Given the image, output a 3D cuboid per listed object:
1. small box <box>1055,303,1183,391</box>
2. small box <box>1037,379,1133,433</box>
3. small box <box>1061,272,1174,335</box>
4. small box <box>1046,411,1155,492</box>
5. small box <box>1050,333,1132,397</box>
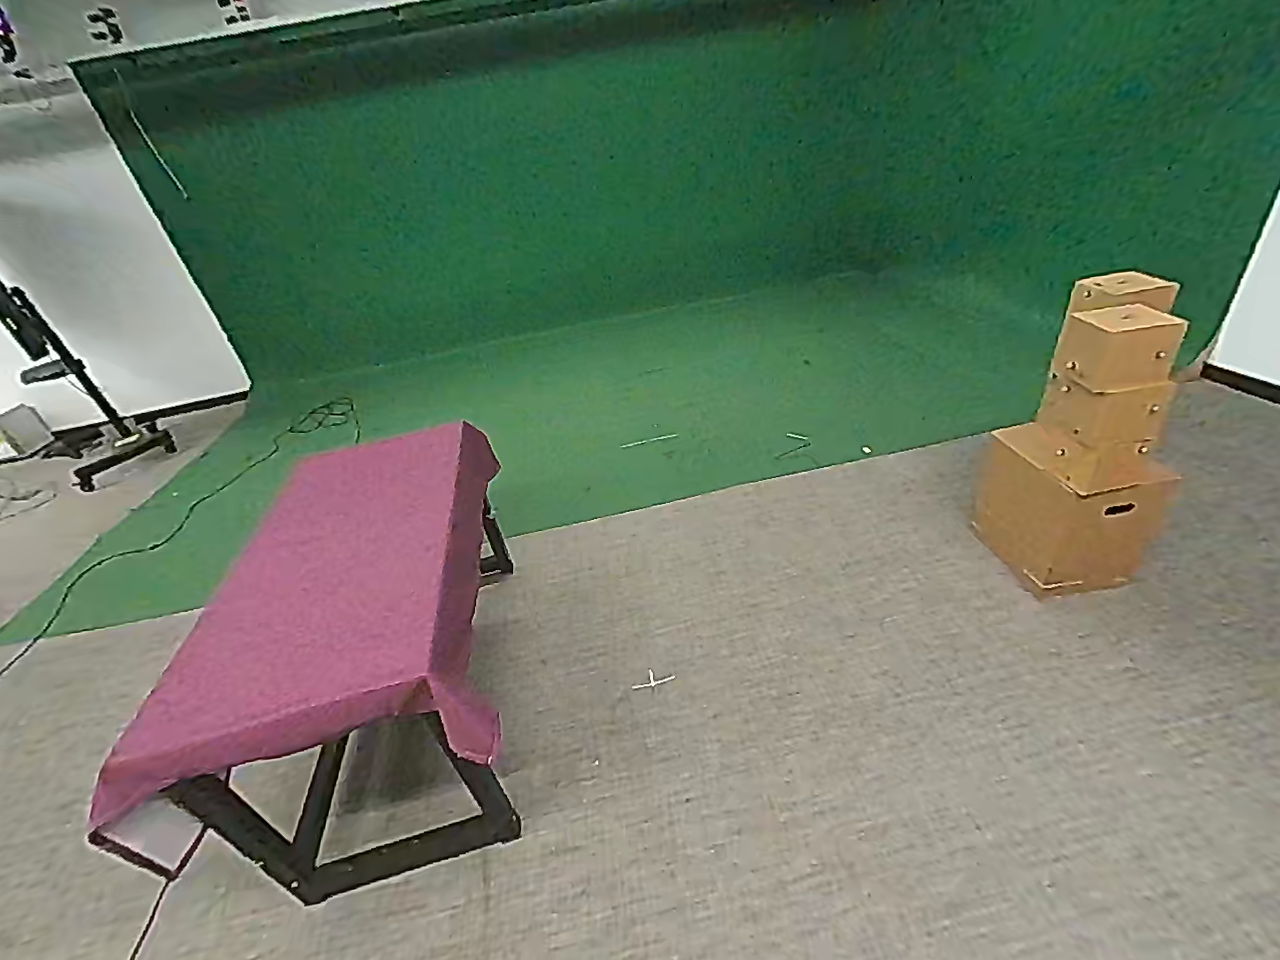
[{"bbox_3d":[1.262,-0.353,1.440,0.179,0.176,0.168,-8,32,6],"label":"small box"},{"bbox_3d":[1.470,-0.234,1.802,0.168,0.176,0.179,-7,34,6],"label":"small box"},{"bbox_3d":[1.426,-0.512,1.630,0.179,0.176,0.168,-9,32,2],"label":"small box"},{"bbox_3d":[1.351,-0.083,1.605,0.179,0.176,0.168,-12,33,-1],"label":"small box"},{"bbox_3d":[1.446,-0.372,1.716,0.179,0.176,0.168,-5,33,7],"label":"small box"}]
